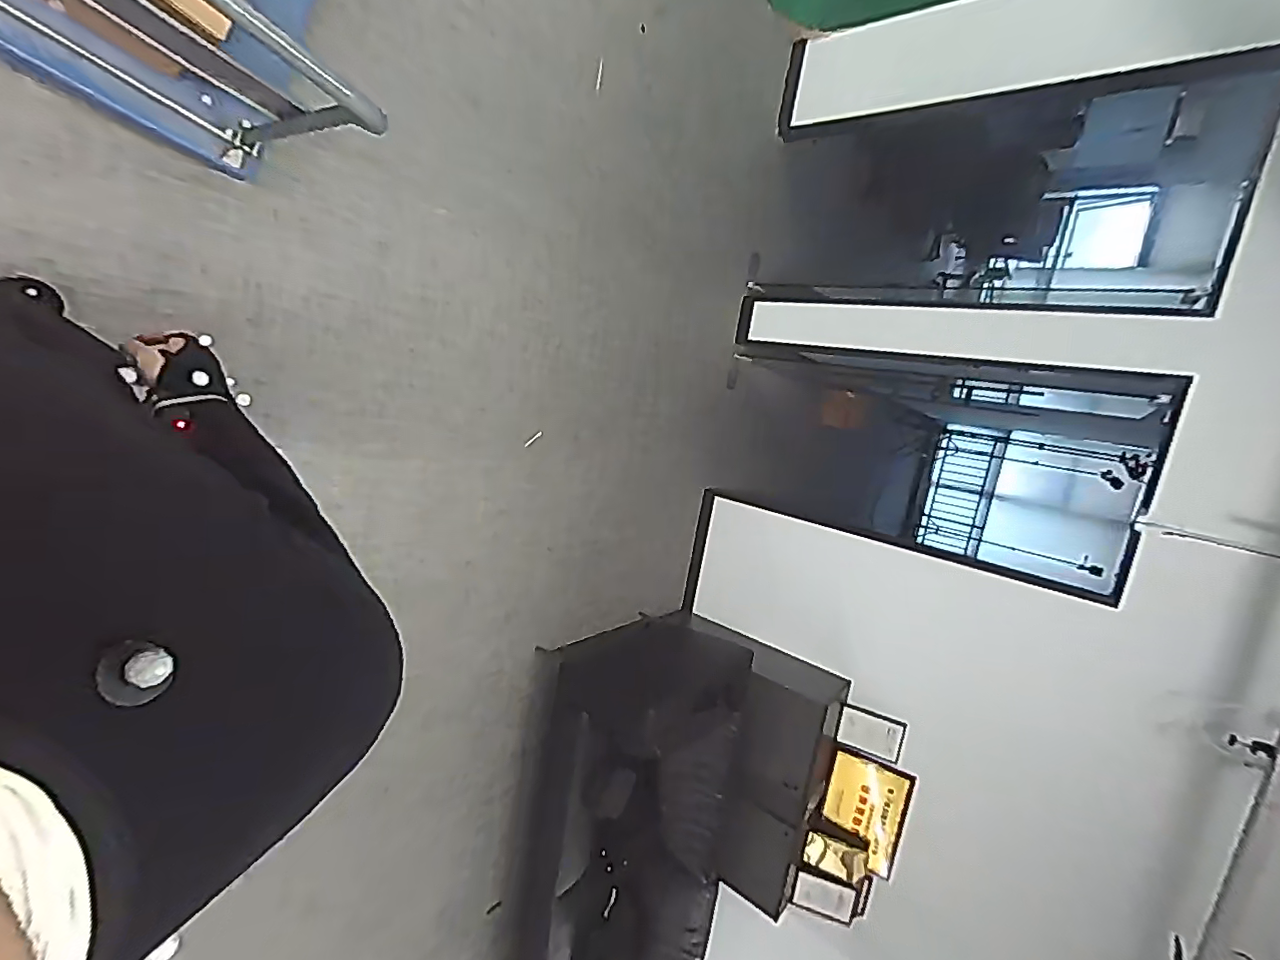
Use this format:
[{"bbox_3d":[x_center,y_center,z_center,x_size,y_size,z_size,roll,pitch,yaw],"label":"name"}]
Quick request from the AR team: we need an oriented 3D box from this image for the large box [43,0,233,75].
[{"bbox_3d":[-0.824,-0.959,0.836,0.320,0.320,0.408,18,87,-55],"label":"large box"}]
